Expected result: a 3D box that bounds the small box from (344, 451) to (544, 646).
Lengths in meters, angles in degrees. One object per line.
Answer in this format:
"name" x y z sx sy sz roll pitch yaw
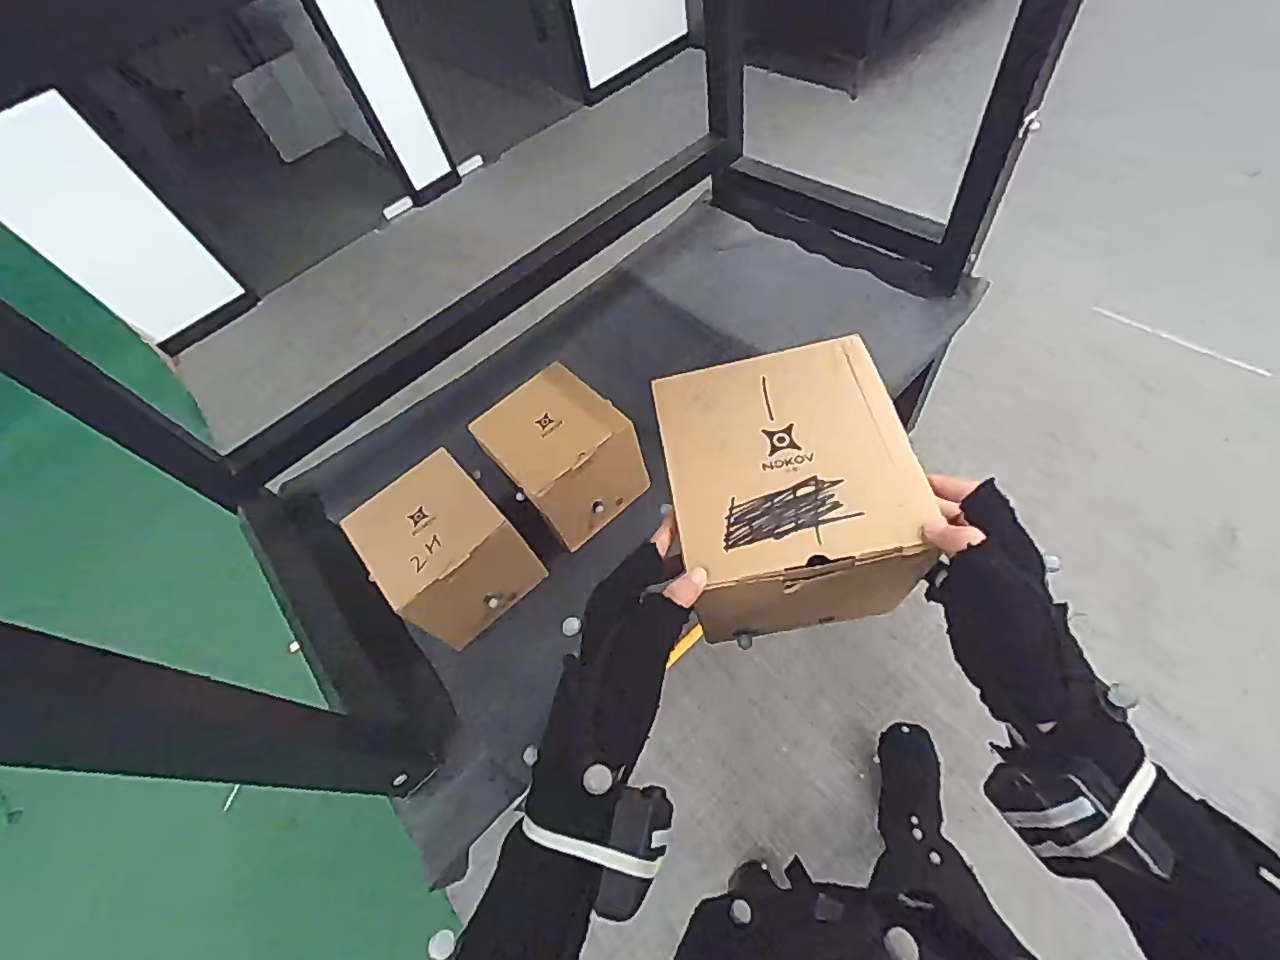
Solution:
"small box" -0.264 0.099 0.754 0.168 0.176 0.179 -40 58 -15
